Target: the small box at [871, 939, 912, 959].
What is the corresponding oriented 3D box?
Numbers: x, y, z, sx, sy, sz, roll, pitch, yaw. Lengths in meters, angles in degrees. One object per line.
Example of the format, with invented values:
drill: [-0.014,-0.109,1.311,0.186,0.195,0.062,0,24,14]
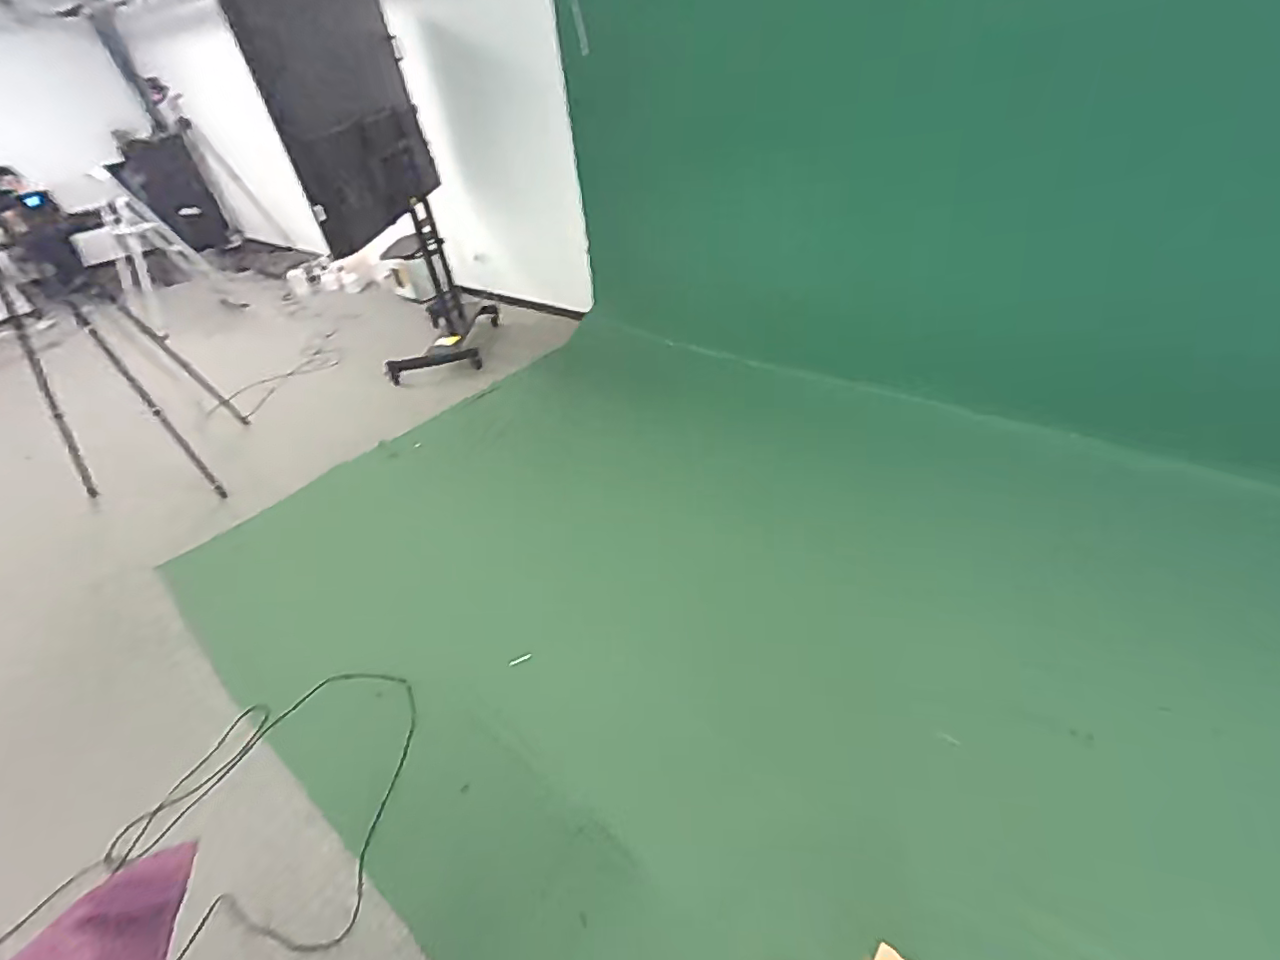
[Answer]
small box: [0.474,0.990,0.964,0.168,0.176,0.179,22,46,32]
